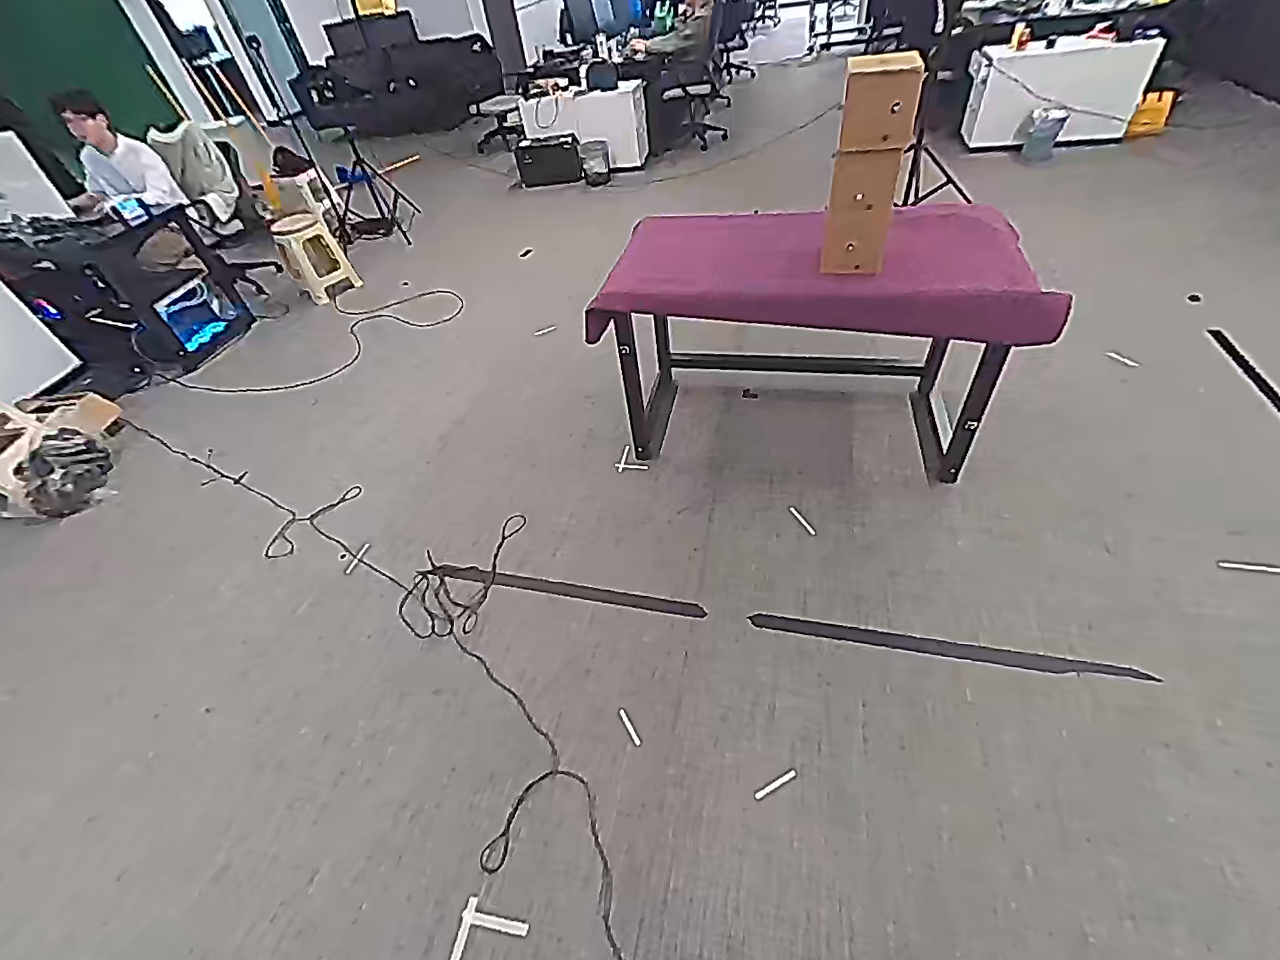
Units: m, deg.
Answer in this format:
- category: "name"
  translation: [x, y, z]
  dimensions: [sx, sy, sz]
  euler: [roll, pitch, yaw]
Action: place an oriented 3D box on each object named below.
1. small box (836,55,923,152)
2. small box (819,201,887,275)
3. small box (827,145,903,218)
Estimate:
- category: "small box"
  translation: [0.590, -0.935, 1.352]
  dimensions: [0.168, 0.176, 0.179]
  euler: [5, 46, 13]
- category: "small box"
  translation: [0.627, -0.720, 1.597]
  dimensions: [0.168, 0.176, 0.179]
  euler: [8, 47, 16]
- category: "small box"
  translation: [0.612, -0.838, 1.482]
  dimensions: [0.168, 0.176, 0.179]
  euler: [7, 48, 16]
